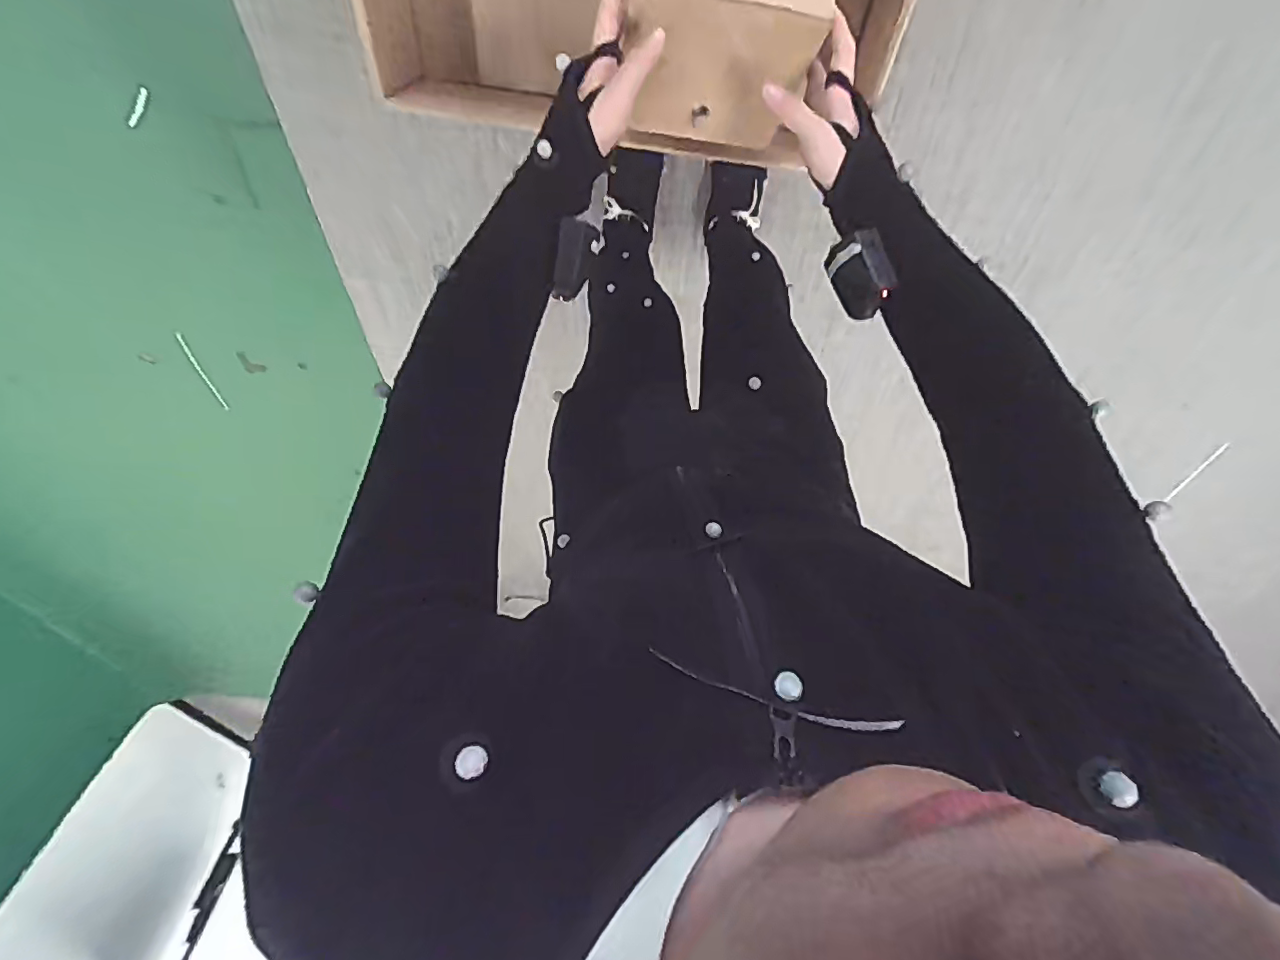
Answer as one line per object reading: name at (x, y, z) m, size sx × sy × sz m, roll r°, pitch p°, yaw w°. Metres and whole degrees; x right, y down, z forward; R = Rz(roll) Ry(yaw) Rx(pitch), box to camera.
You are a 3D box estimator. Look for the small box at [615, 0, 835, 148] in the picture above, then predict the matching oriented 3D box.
small box at (0.073, -0.461, 0.526) m, size 0.179 × 0.168 × 0.176 m, roll 4°, pitch 176°, yaw -6°
